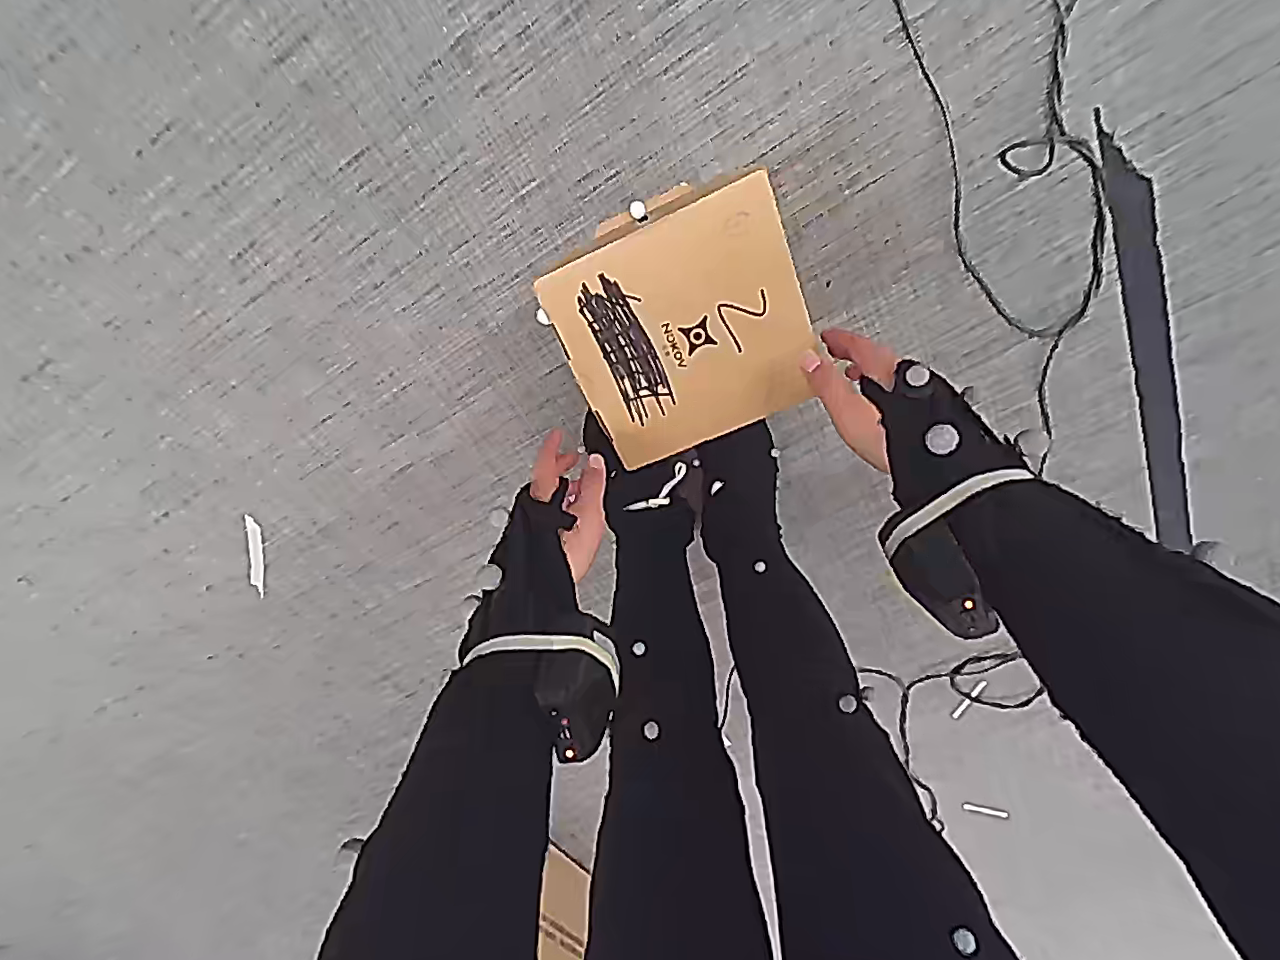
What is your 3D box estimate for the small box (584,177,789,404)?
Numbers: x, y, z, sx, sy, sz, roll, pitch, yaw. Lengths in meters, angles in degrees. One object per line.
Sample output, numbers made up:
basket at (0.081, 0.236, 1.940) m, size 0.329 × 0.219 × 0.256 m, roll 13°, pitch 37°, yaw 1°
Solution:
small box at (0.049, -0.218, 0.616) m, size 0.168 × 0.176 × 0.179 m, roll -21°, pitch 117°, yaw 11°
